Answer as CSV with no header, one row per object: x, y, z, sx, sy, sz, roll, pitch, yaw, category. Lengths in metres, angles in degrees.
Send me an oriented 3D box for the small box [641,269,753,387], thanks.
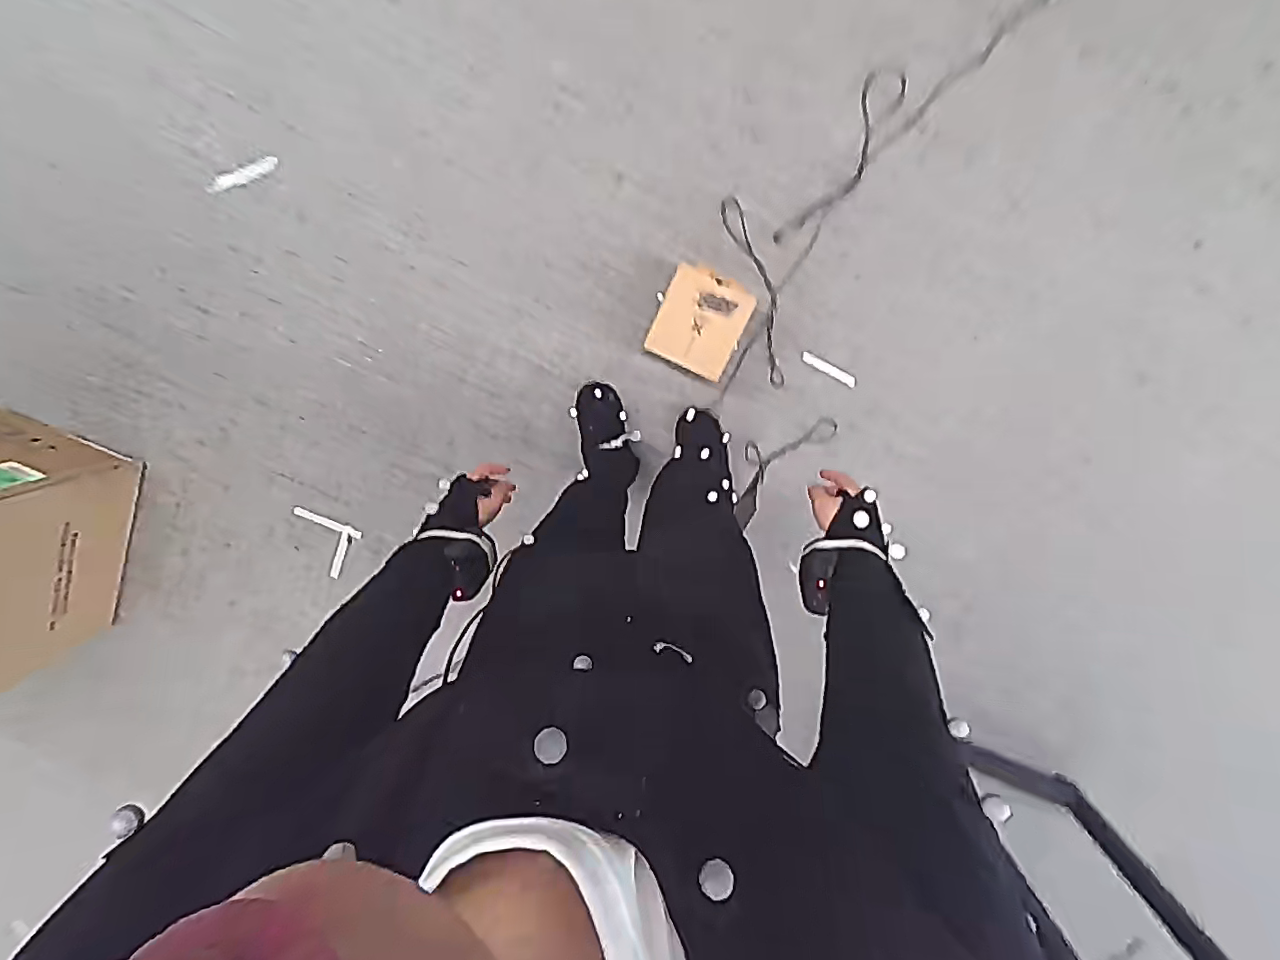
0.110,-0.318,1.131,0.168,0.176,0.179,25,106,-6,small box
